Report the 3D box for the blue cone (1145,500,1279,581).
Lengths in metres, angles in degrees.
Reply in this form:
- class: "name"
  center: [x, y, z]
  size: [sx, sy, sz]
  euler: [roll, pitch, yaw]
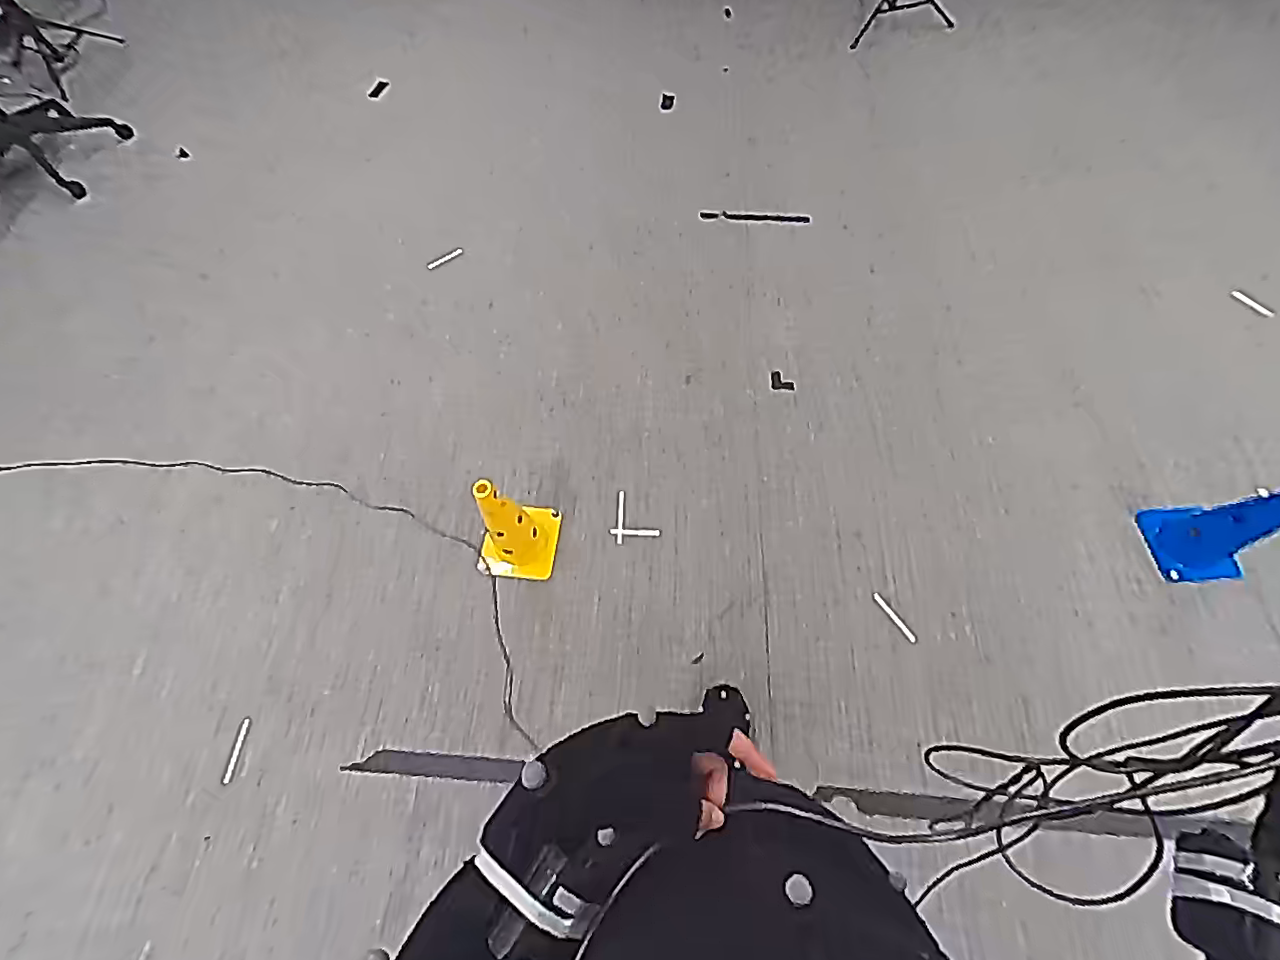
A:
- class: "blue cone"
  center: [1.422, 0.096, 1.249]
  size: [0.193, 0.380, 0.192]
  euler: [-2, 65, 1]
